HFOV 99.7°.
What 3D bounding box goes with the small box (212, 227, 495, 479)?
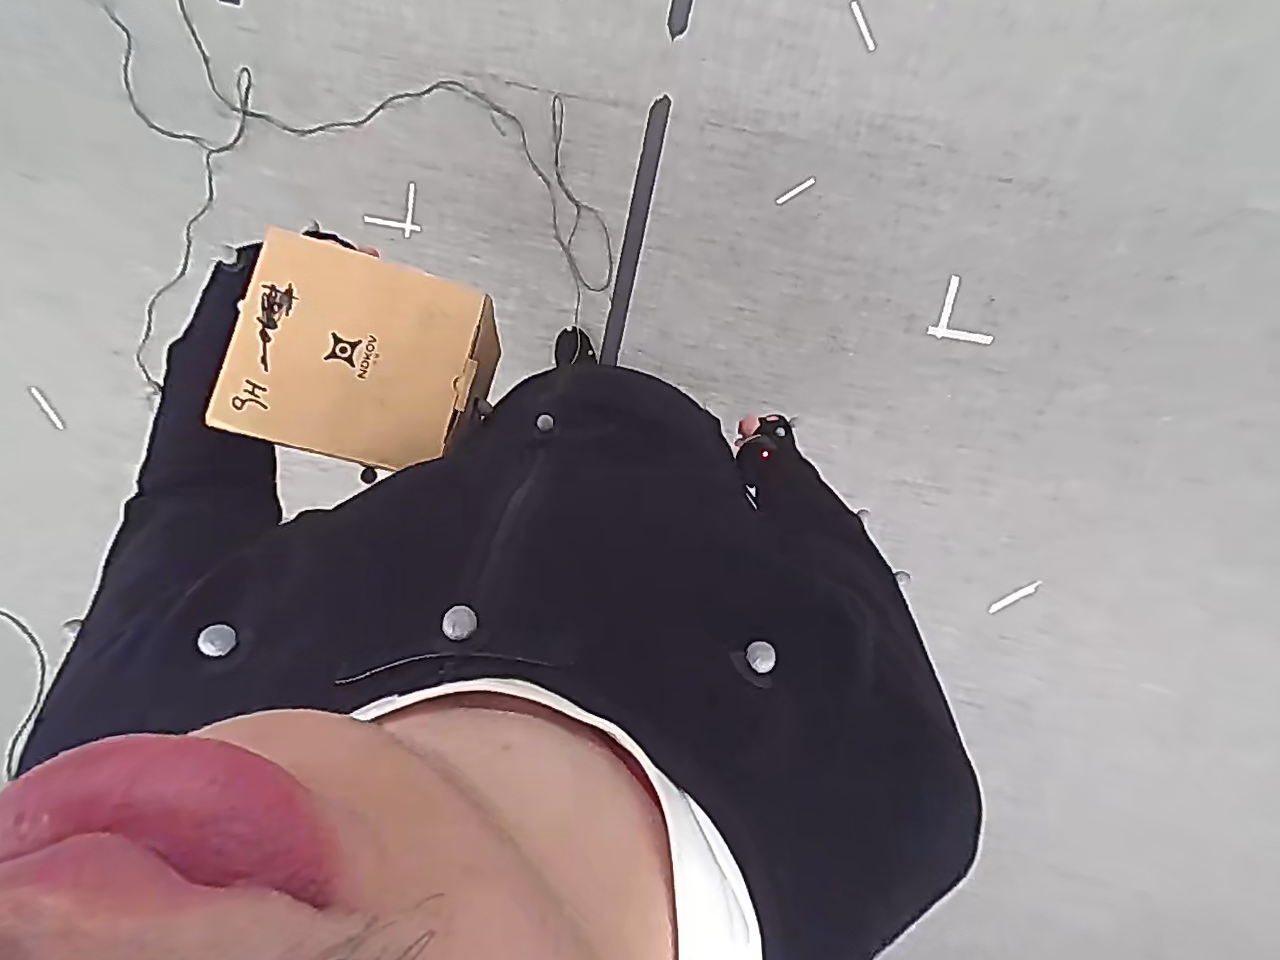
[{"bbox_3d":[-0.245,-0.100,0.517,0.179,0.176,0.168,15,84,-11],"label":"small box"}]
